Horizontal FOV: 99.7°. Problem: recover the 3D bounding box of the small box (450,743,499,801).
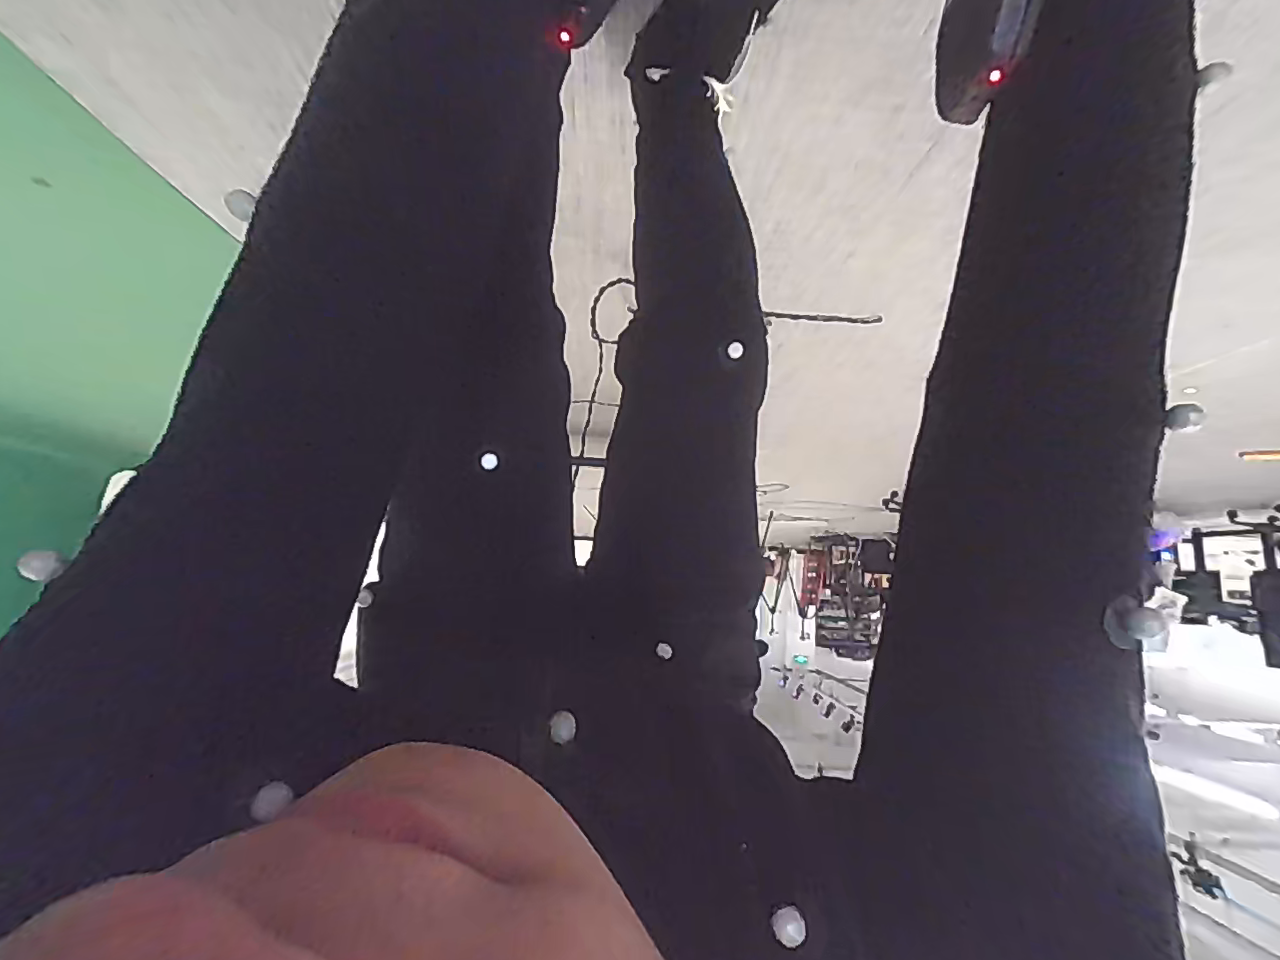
[{"bbox_3d":[-0.695,1.231,2.285,0.168,0.176,0.179,4,172,-5],"label":"small box"}]
